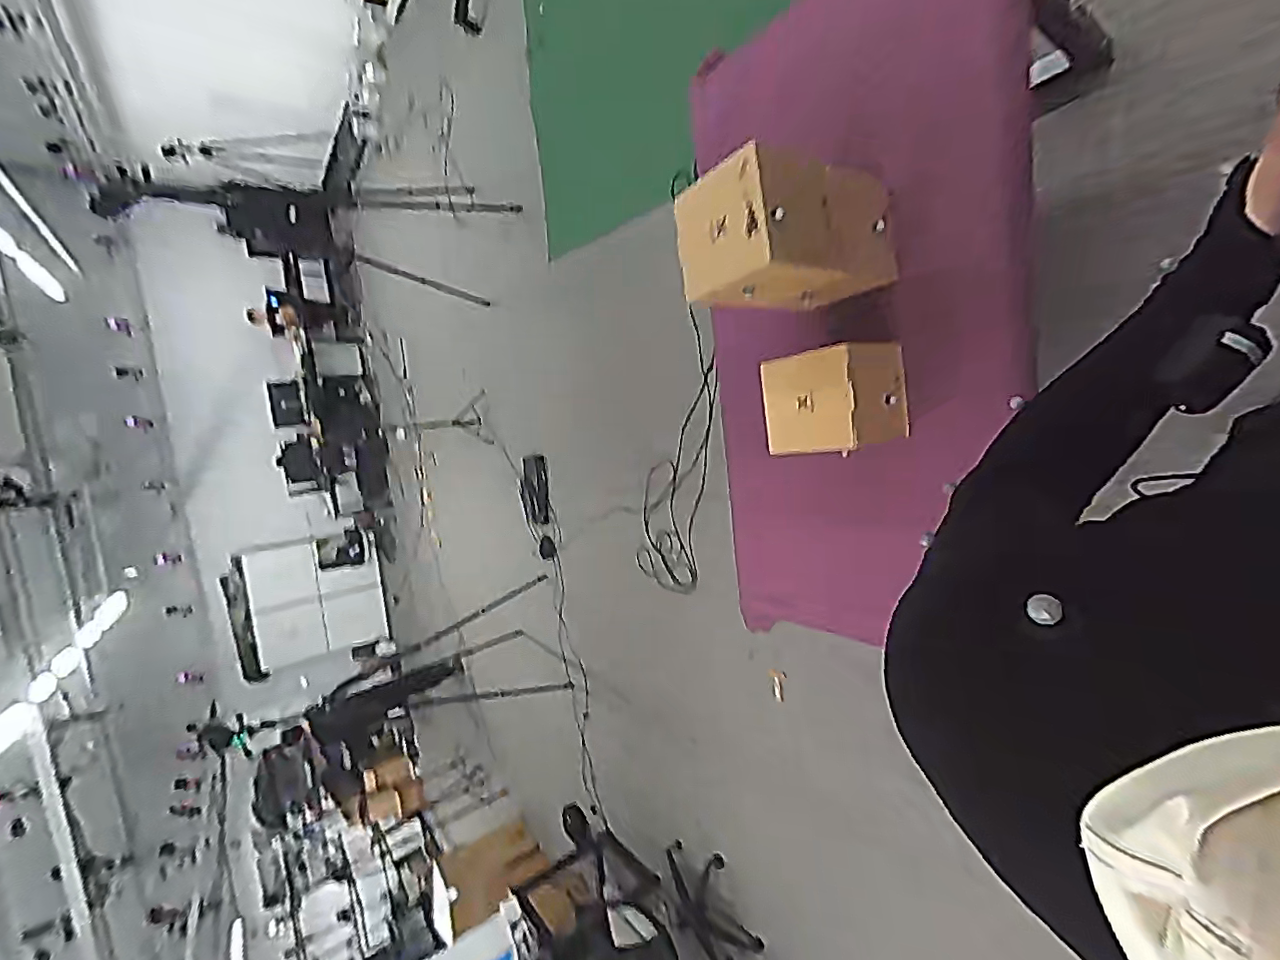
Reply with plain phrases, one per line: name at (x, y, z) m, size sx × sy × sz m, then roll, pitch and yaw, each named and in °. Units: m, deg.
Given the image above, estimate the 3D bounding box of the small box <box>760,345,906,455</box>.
small box at (0.341, -0.137, 0.958) m, size 0.179 × 0.176 × 0.168 m, roll -3°, pitch 96°, yaw 53°

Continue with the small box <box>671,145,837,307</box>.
small box at (0.175, -0.375, 0.839) m, size 0.179 × 0.176 × 0.168 m, roll -6°, pitch 94°, yaw 55°

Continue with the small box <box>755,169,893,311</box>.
small box at (0.307, -0.399, 0.935) m, size 0.179 × 0.176 × 0.168 m, roll -5°, pitch 95°, yaw 53°
